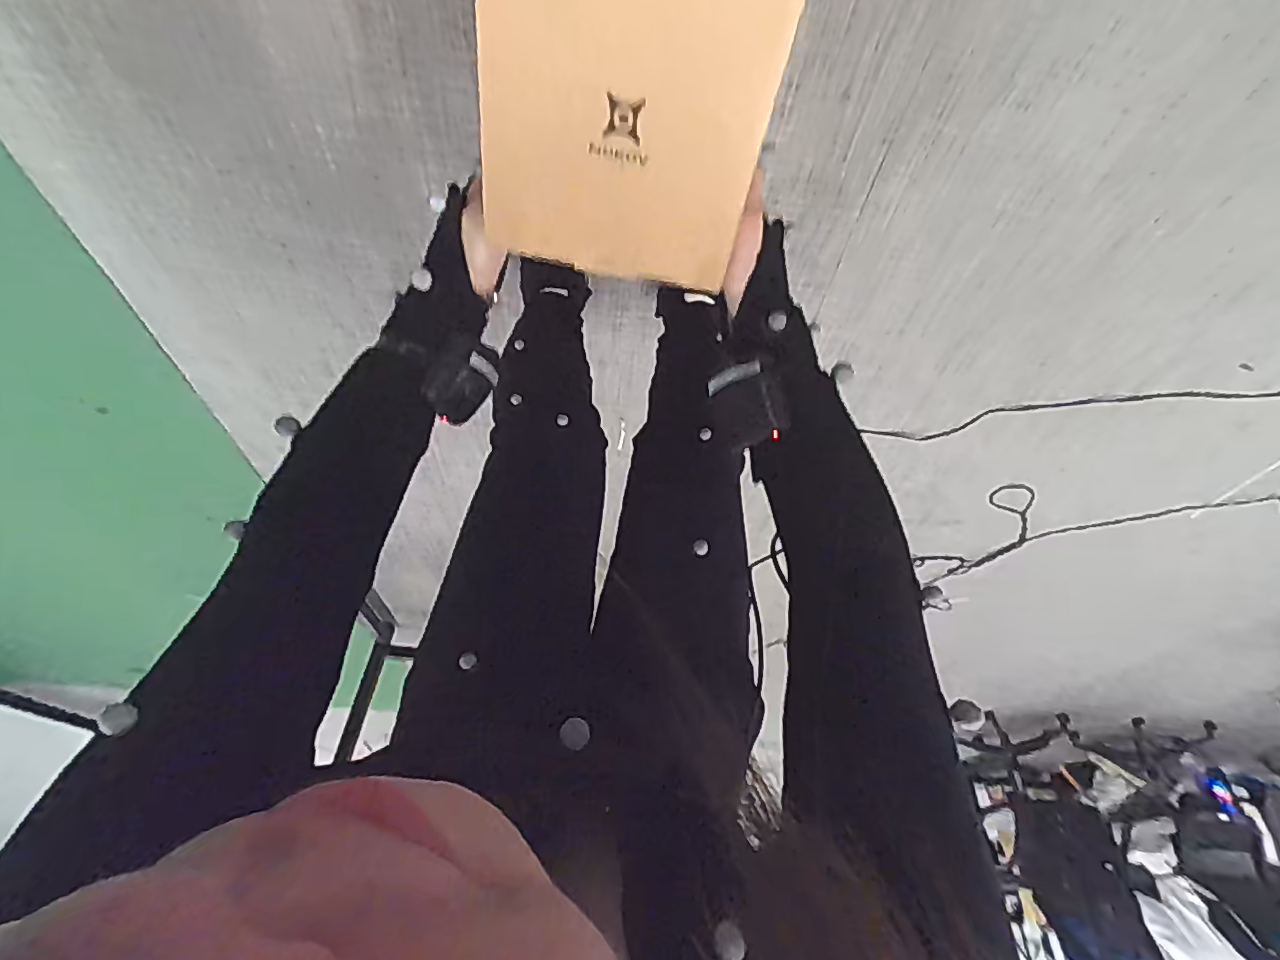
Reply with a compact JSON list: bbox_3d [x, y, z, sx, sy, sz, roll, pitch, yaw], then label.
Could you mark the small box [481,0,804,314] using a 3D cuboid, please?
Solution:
[{"bbox_3d":[-0.006,-0.249,0.377,0.168,0.176,0.179,9,138,-4],"label":"small box"}]
